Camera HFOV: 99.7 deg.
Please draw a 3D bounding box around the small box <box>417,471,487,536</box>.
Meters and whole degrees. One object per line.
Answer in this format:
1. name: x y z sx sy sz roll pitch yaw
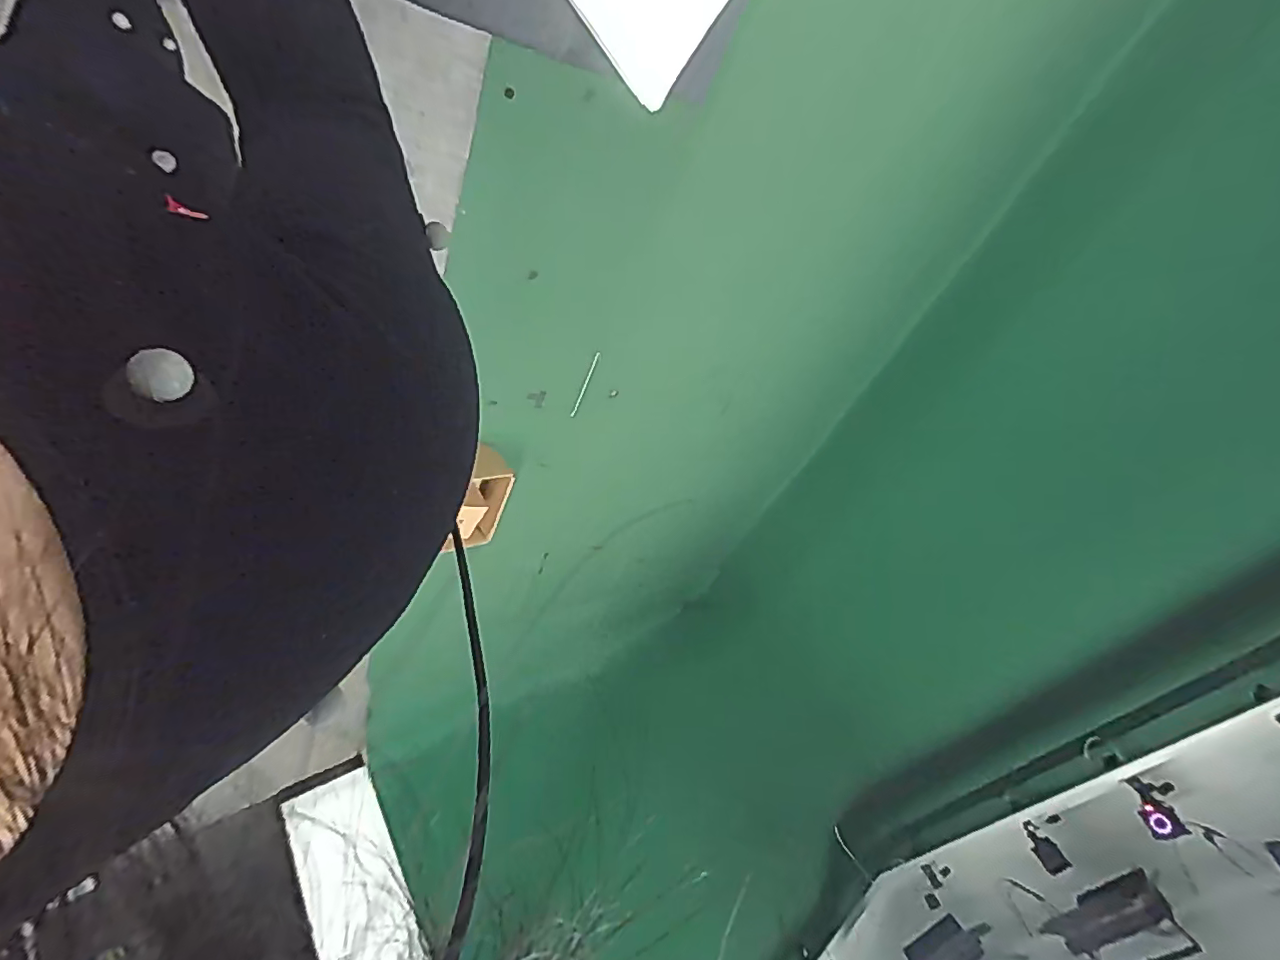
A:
1. small box: -0.712 0.091 2.027 0.168 0.176 0.179 7 129 -53
